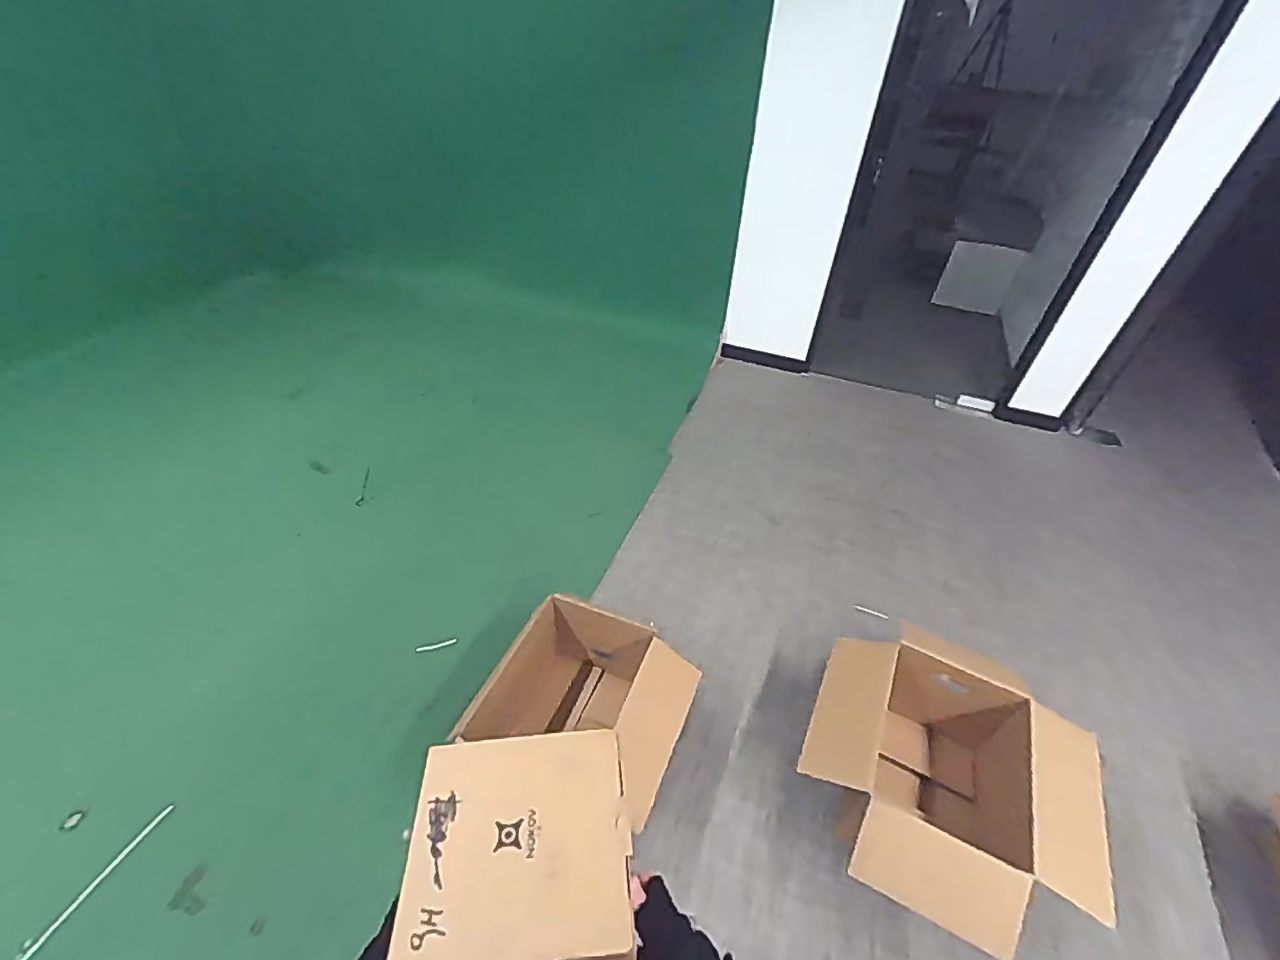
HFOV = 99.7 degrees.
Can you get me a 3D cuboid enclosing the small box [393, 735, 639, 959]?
[{"bbox_3d":[-0.097,0.357,0.493,0.179,0.176,0.168,-1,36,-5],"label":"small box"}]
